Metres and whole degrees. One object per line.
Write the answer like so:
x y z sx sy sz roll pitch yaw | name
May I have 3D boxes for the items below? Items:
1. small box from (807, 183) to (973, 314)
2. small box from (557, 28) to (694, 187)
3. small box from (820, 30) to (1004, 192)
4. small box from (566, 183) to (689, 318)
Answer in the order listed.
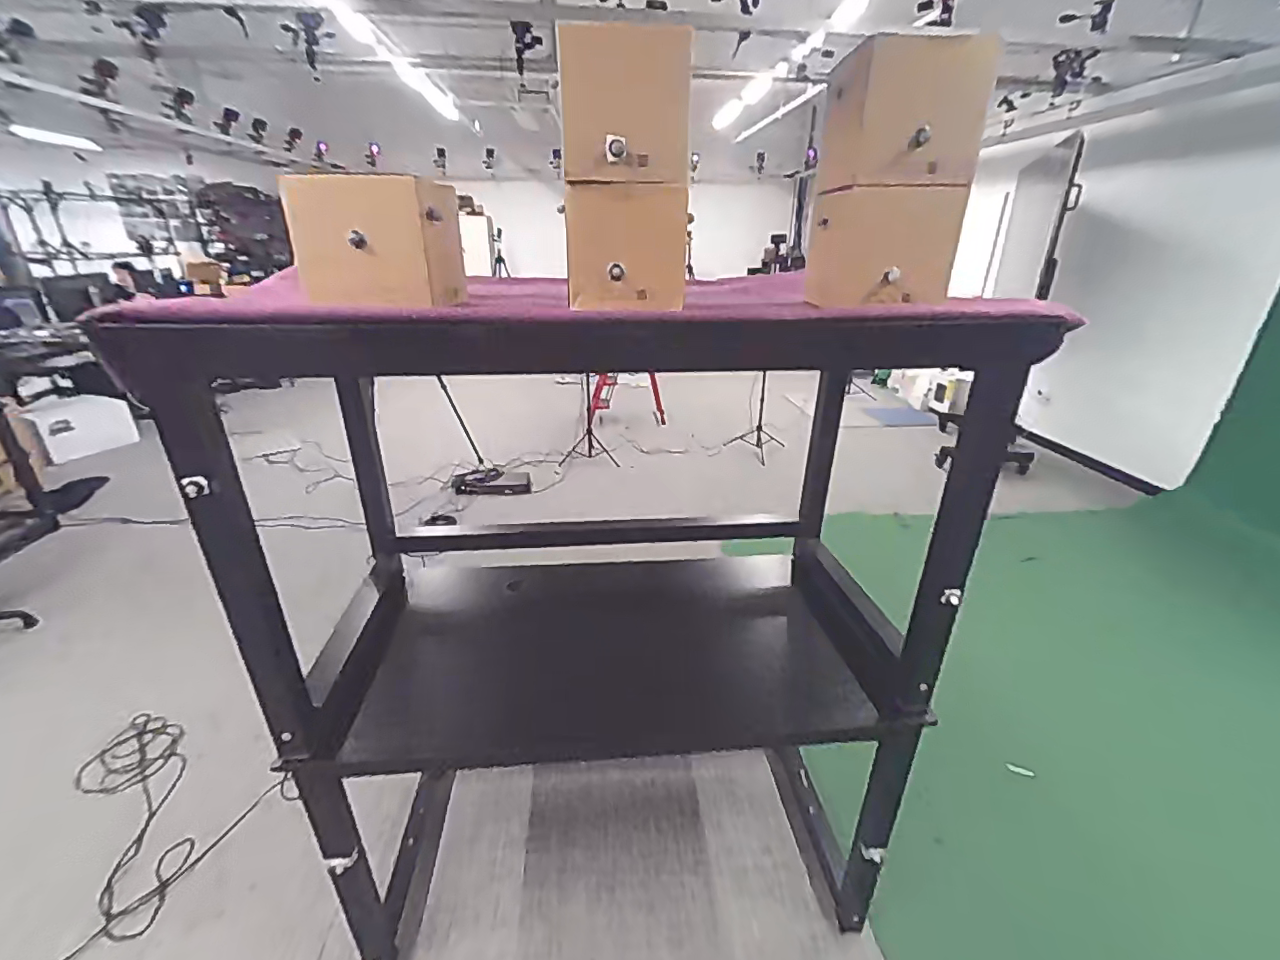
0.368 -0.355 0.835 0.168 0.176 0.179 -1 24 1 | small box
-0.024 -0.490 0.748 0.168 0.176 0.179 -4 24 -5 | small box
0.367 -0.506 0.770 0.168 0.176 0.179 -1 24 1 | small box
-0.018 -0.343 0.815 0.168 0.176 0.179 0 23 -1 | small box
